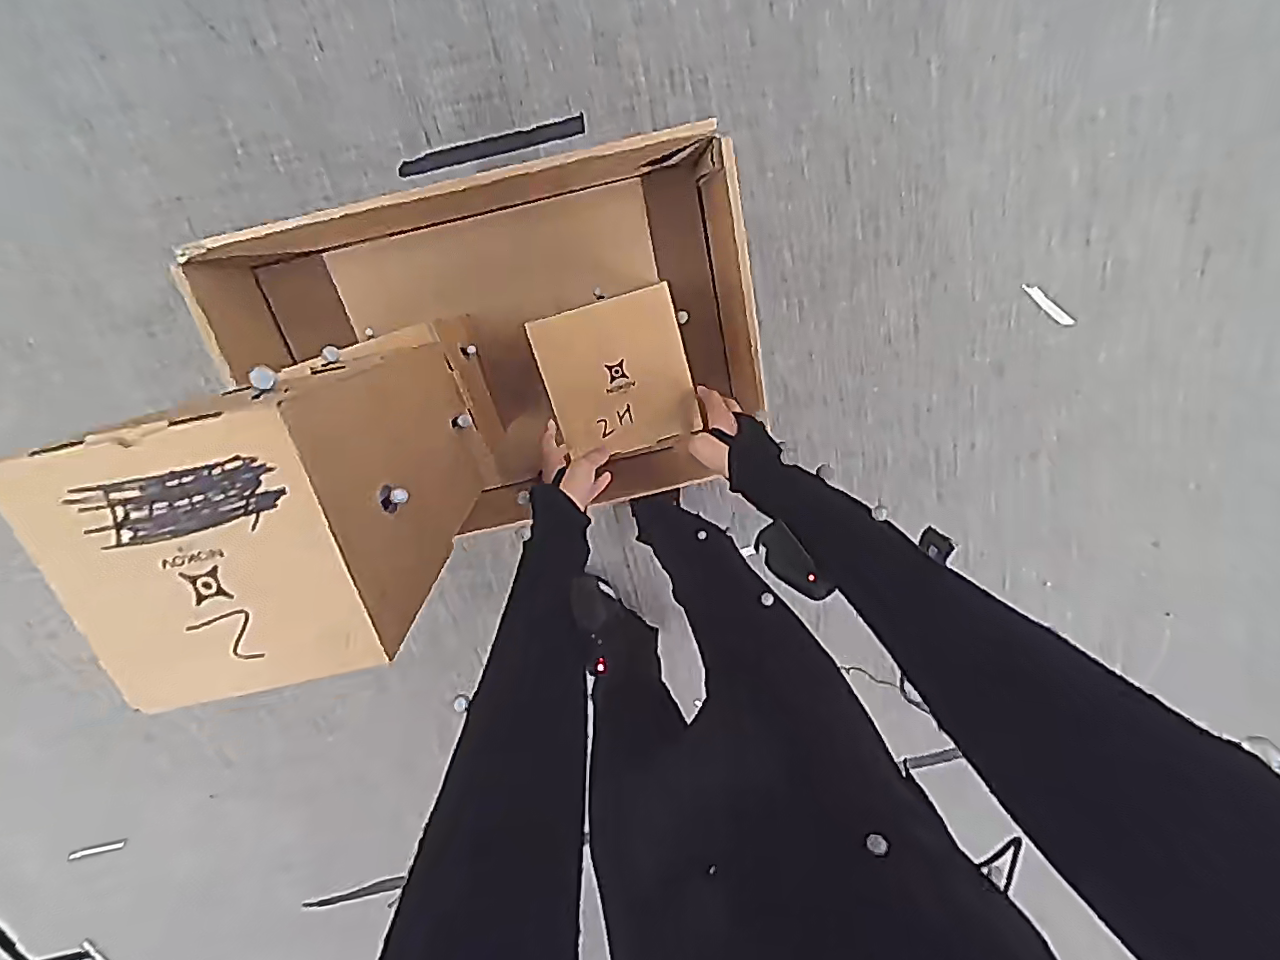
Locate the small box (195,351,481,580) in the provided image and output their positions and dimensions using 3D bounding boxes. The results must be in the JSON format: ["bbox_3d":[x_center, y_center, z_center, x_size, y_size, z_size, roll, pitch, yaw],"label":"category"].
[{"bbox_3d":[-0.276,-0.029,0.545,0.168,0.176,0.179,-12,109,0],"label":"small box"}]
